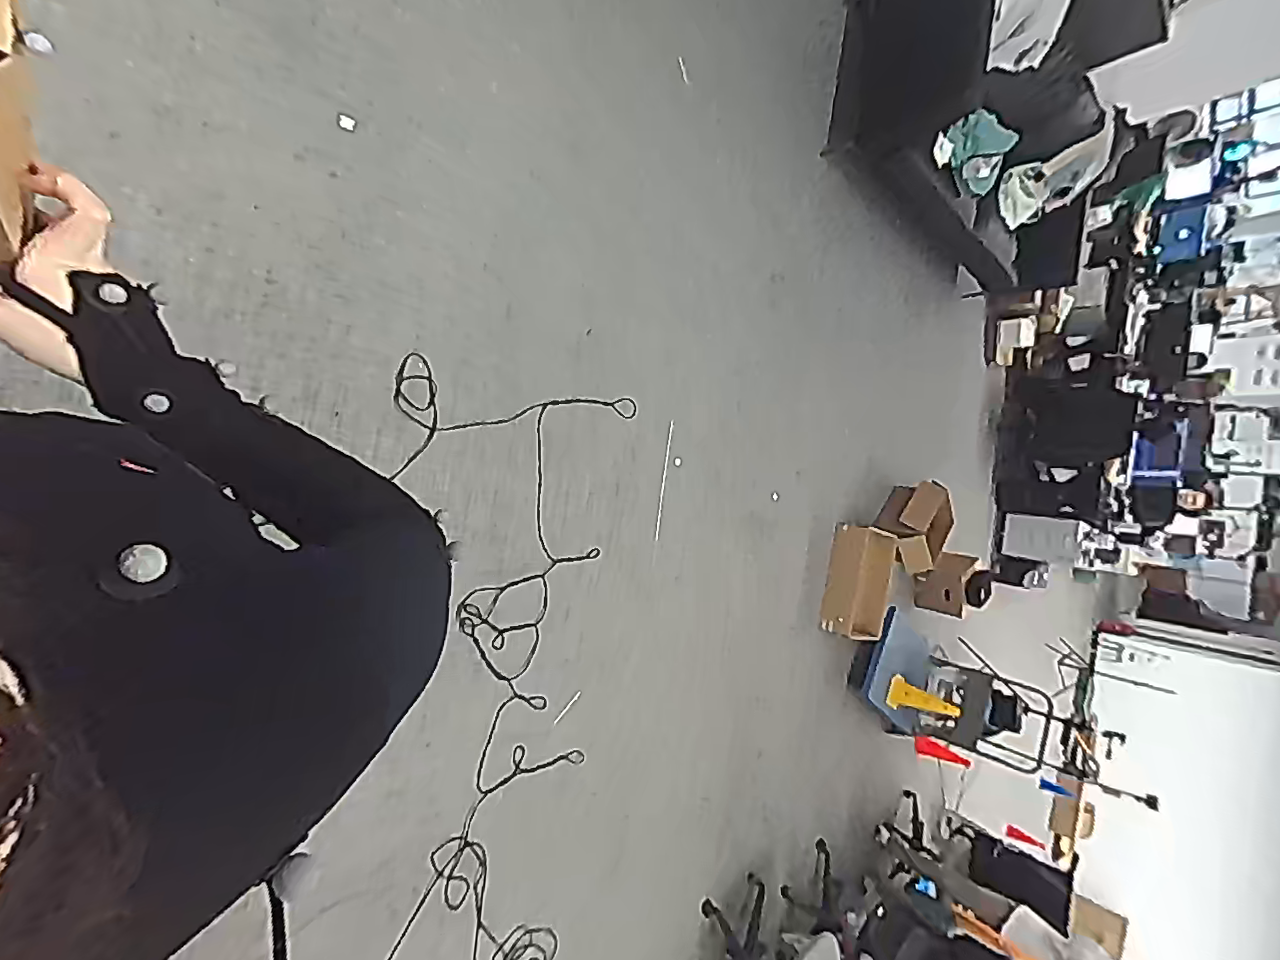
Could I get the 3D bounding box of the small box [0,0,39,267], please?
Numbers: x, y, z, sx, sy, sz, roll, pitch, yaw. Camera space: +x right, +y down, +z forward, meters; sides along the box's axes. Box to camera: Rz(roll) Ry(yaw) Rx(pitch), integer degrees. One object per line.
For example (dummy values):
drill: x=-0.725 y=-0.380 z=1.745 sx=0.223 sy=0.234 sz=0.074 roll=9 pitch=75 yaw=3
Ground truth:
small box: x=-0.415 y=-0.216 z=0.250 sx=0.179 sy=0.176 sz=0.168 roll=-1 pitch=86 yaw=-43
